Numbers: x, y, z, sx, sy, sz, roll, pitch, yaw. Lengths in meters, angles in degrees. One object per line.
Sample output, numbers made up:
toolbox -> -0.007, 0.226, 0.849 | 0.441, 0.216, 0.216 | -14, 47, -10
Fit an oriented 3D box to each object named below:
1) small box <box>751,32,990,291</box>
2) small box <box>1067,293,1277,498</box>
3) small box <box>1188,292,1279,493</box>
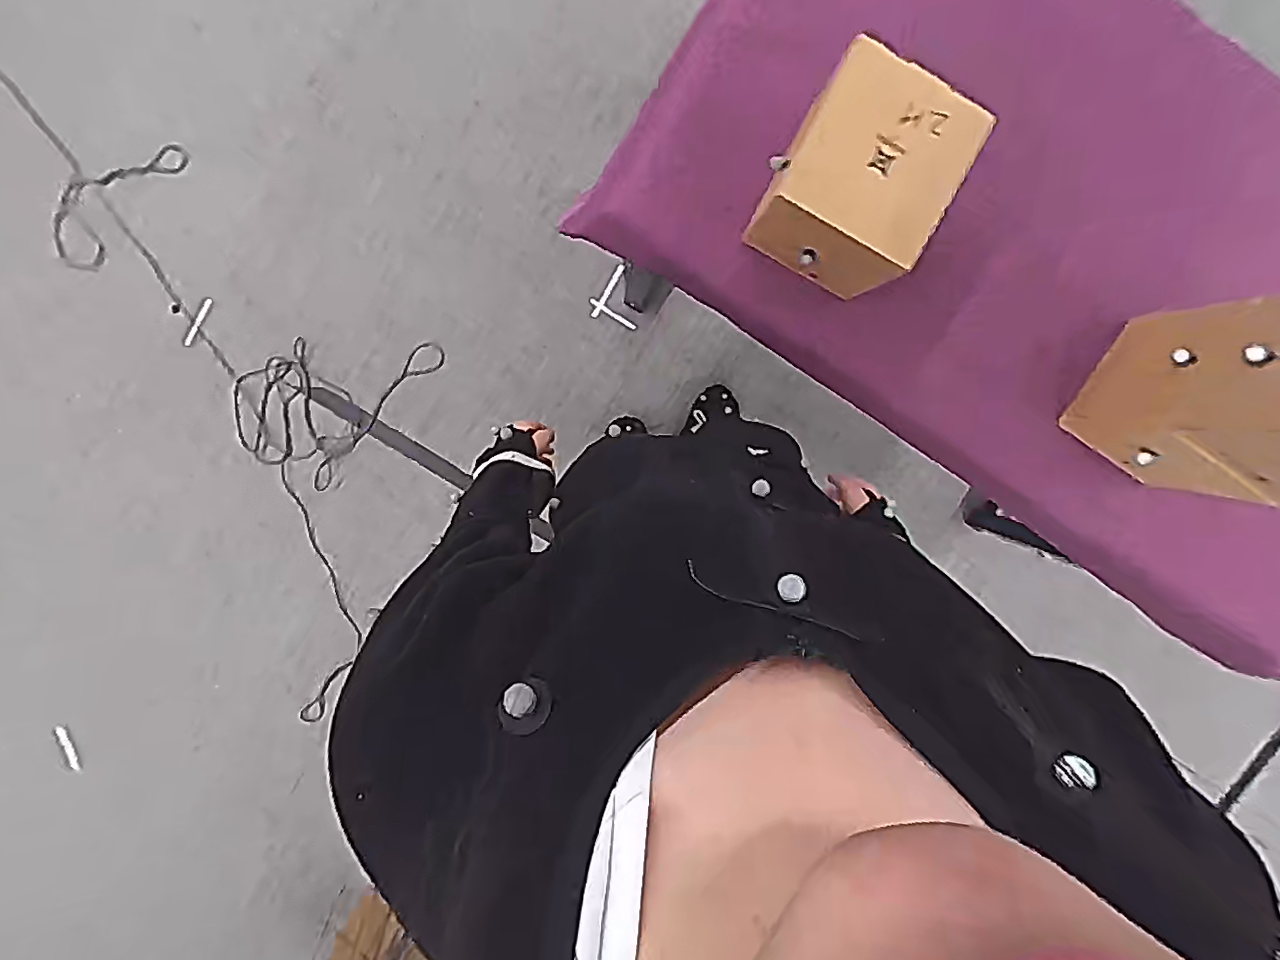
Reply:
small box -> 0.247, -0.347, 0.634 | 0.168, 0.176, 0.179 | 27, 96, -6
small box -> 0.702, -0.102, 0.687 | 0.168, 0.176, 0.179 | 31, 96, -5
small box -> 0.709, -0.082, 0.524 | 0.168, 0.176, 0.179 | 32, 96, -5
